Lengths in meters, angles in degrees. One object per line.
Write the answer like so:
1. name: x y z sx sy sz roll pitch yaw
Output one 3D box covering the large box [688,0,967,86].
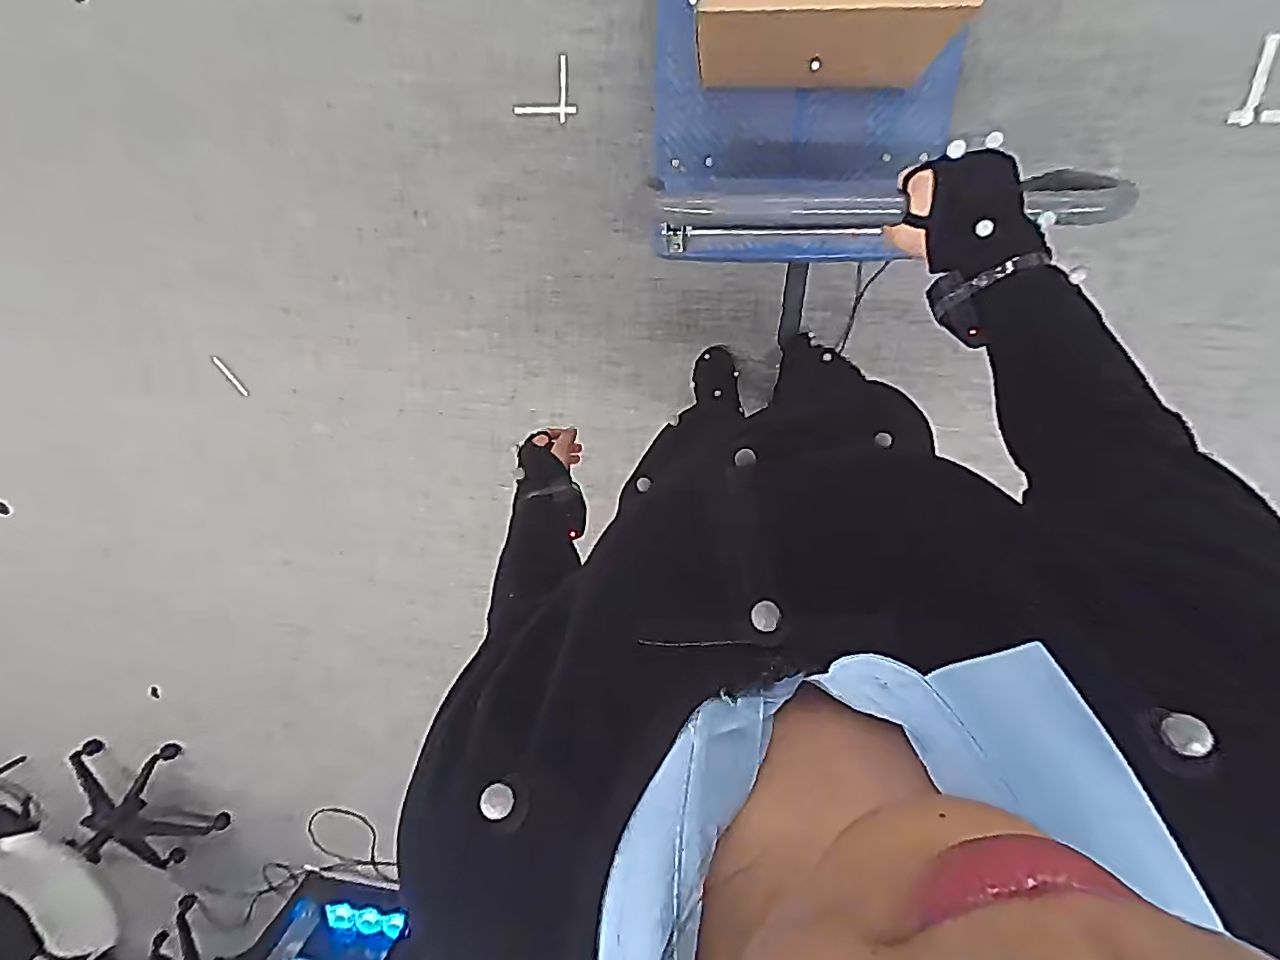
1. large box: 0.294 -0.873 0.867 0.408 0.320 0.320 4 107 8
